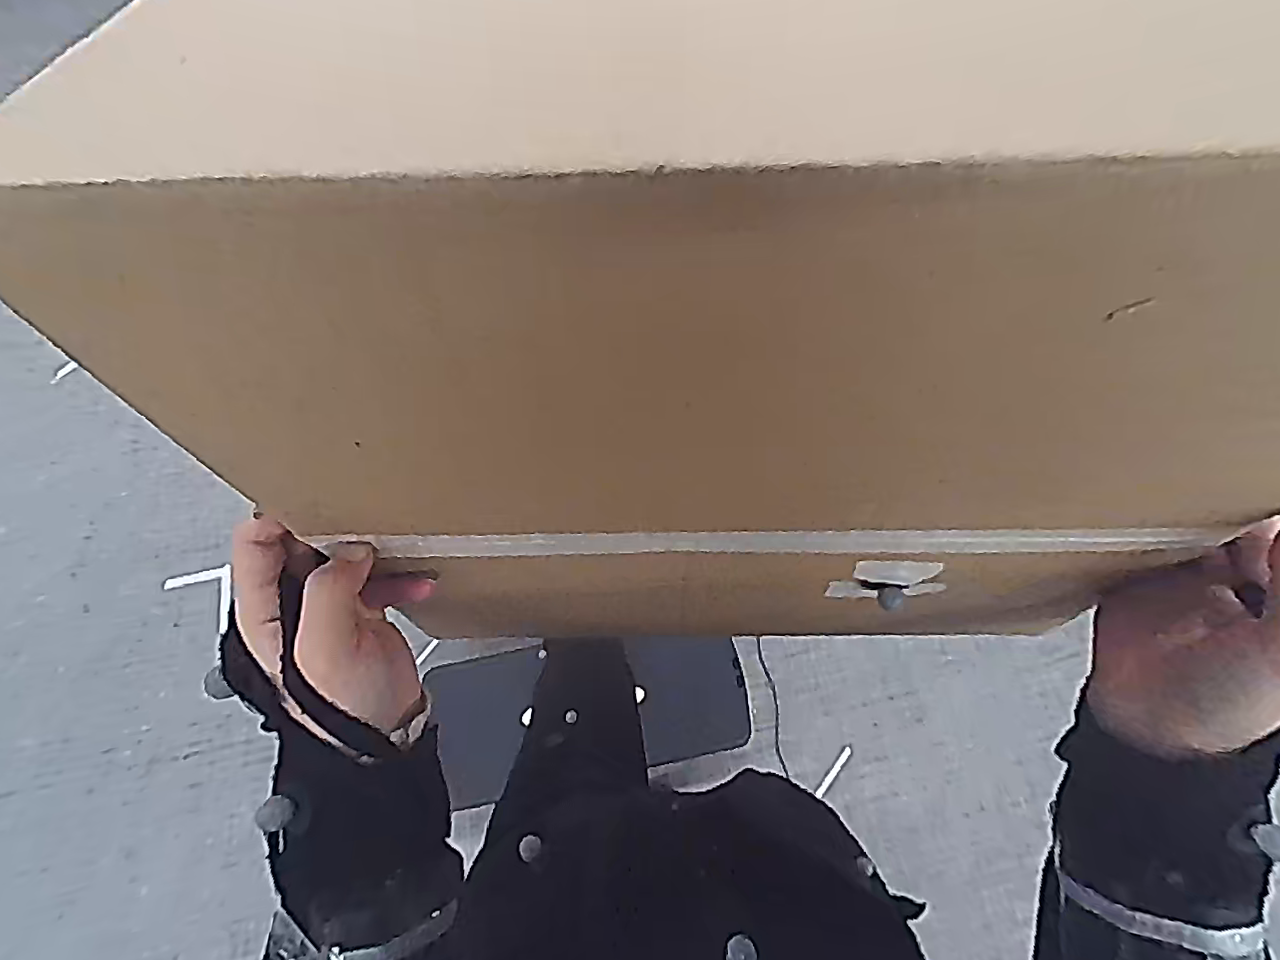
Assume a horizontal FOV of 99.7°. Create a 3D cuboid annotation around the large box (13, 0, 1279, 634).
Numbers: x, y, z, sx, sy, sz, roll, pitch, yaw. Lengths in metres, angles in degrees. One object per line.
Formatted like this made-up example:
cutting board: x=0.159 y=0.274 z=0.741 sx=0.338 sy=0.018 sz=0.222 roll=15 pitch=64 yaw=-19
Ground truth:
large box: x=0.047 y=-0.107 z=0.326 sx=0.408 sy=0.320 sz=0.320 roll=-2 pitch=59 yaw=1
